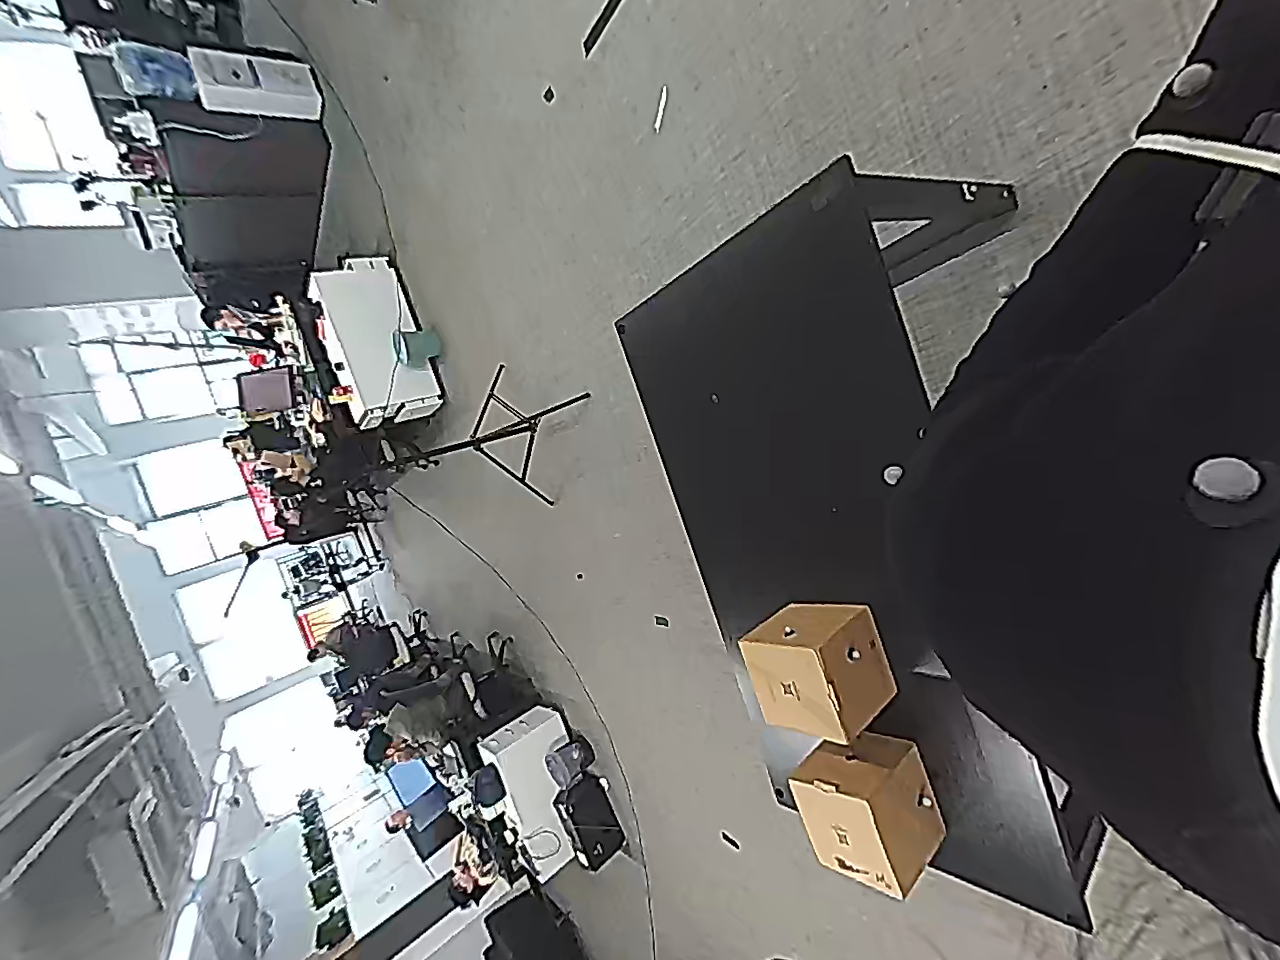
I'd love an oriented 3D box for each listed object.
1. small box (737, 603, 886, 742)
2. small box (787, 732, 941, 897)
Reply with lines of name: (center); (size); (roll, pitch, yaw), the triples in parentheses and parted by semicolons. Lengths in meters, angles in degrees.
small box: (0.310, 0.329, 0.962); (0.179, 0.176, 0.168); (-16, 93, 54)
small box: (0.400, 0.575, 0.967); (0.168, 0.176, 0.179); (-19, 91, 54)
